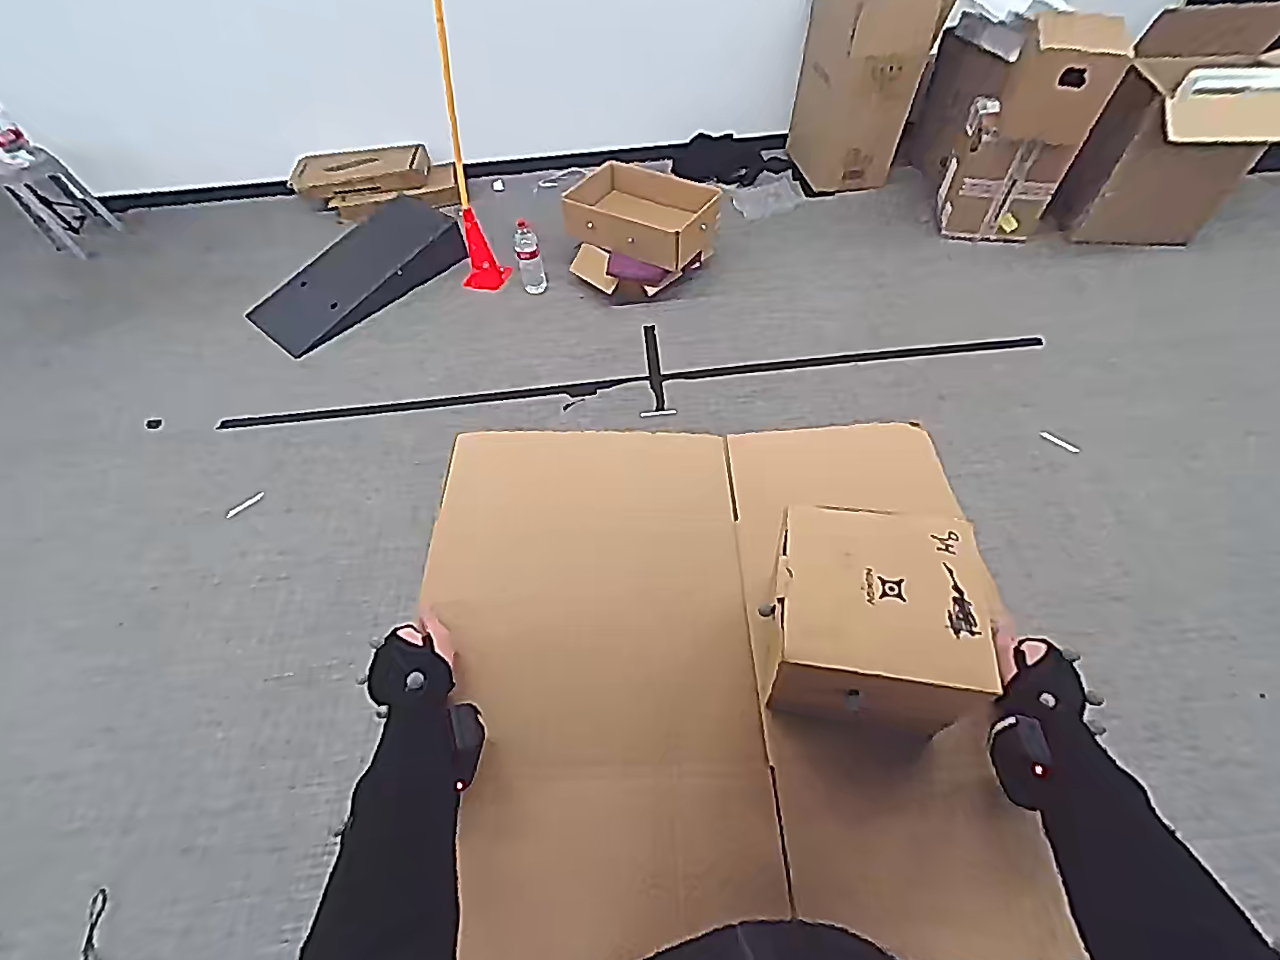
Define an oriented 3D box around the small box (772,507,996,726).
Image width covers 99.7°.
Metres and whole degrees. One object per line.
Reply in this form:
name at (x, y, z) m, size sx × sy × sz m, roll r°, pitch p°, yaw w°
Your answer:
small box at (0.233, 0.146, 0.568) m, size 0.179 × 0.176 × 0.168 m, roll 4°, pitch 56°, yaw 12°
